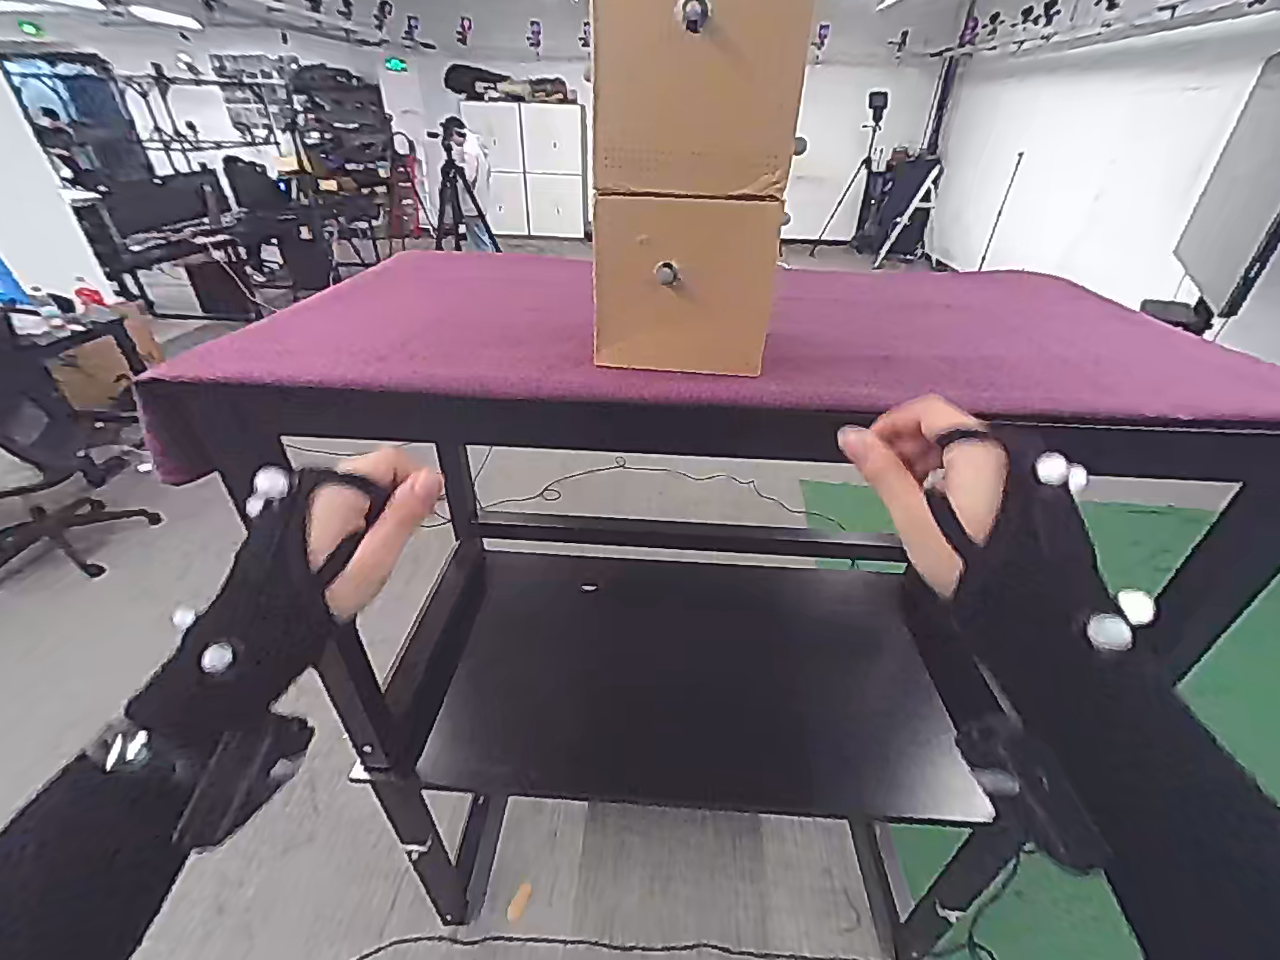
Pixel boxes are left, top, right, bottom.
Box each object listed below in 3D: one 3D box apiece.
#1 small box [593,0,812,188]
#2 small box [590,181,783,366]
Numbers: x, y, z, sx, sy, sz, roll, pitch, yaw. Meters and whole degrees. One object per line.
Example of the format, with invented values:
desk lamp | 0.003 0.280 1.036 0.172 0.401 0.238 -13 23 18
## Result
small box | 0.056 -0.368 0.498 0.179 0.176 0.168 6 33 7
small box | 0.051 -0.230 0.586 0.179 0.176 0.168 4 33 6
